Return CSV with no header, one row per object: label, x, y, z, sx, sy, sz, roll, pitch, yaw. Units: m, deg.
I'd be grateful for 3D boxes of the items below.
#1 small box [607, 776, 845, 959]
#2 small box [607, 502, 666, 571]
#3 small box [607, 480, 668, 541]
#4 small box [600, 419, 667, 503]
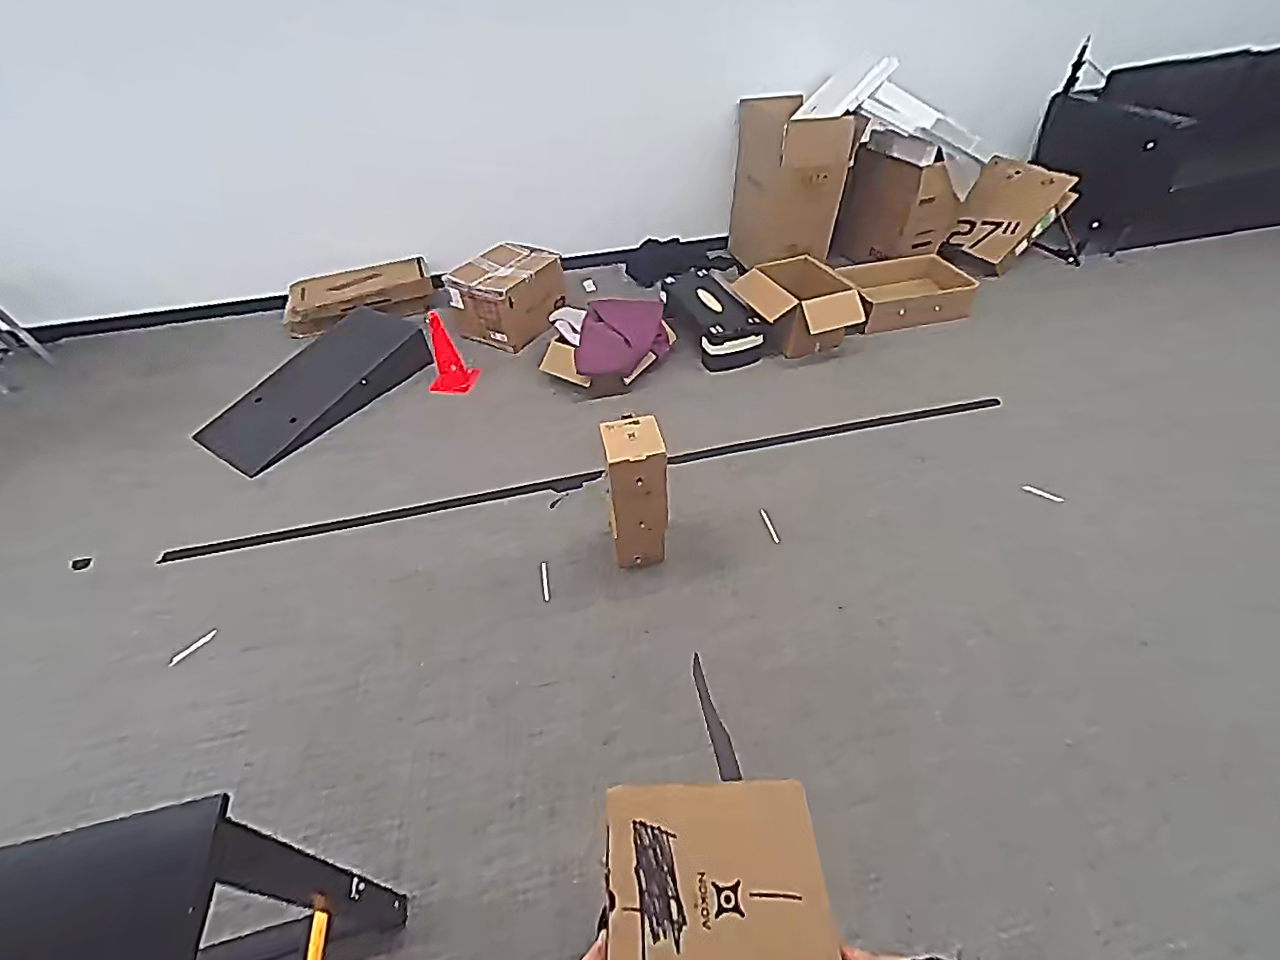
small box,0.064,0.379,0.477,0.179,0.176,0.168,-1,45,-1
small box,-0.012,0.177,1.817,0.168,0.176,0.179,-11,46,-6
small box,-0.010,0.065,1.695,0.168,0.176,0.179,-11,45,-6
small box,-0.018,-0.050,1.578,0.168,0.176,0.179,-10,46,-6
